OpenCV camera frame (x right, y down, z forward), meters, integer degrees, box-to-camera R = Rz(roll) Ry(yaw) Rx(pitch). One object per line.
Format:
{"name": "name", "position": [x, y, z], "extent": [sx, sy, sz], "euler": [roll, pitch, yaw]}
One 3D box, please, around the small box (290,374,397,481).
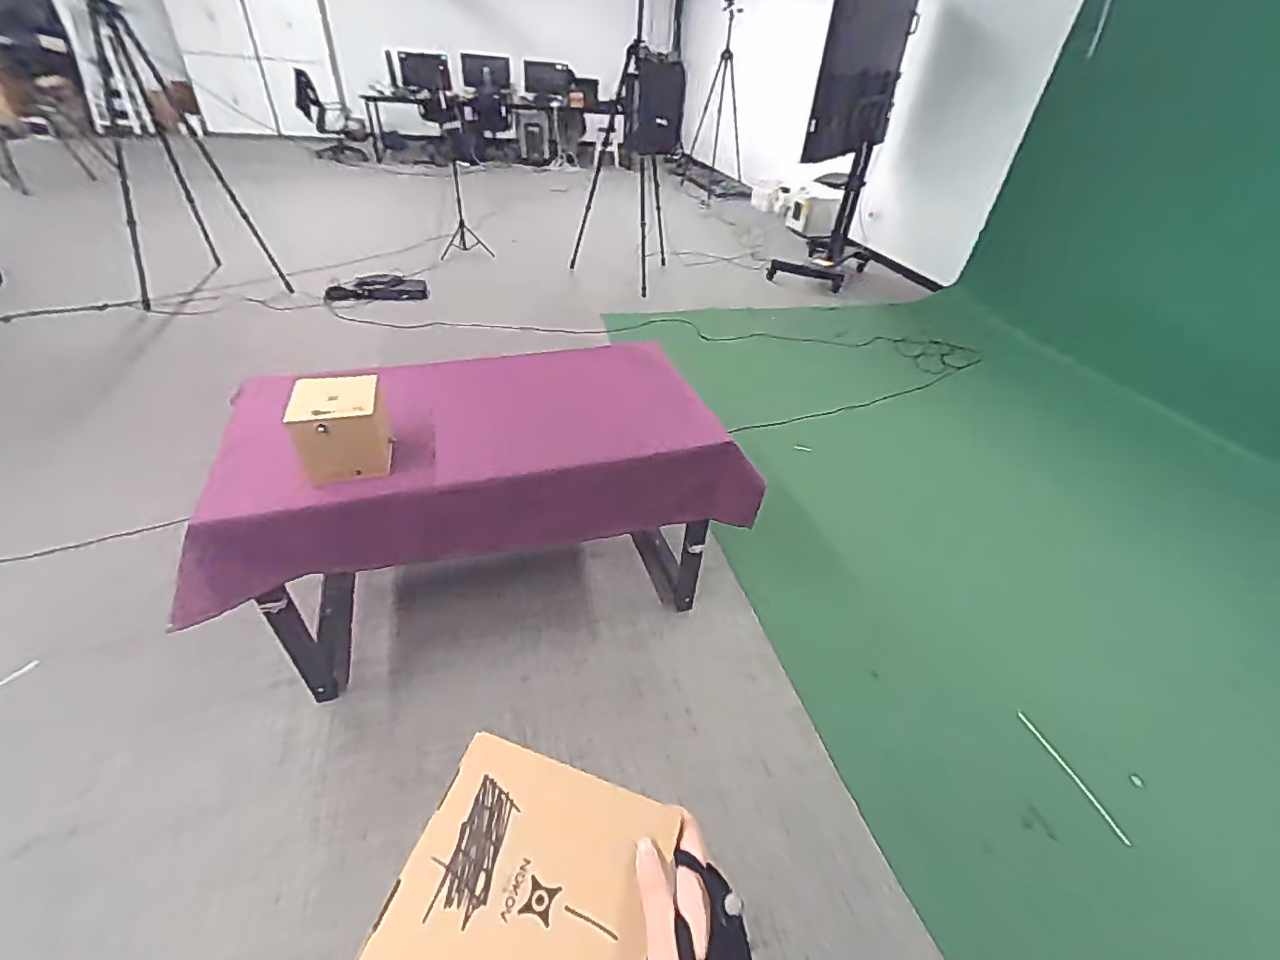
{"name": "small box", "position": [-0.652, -0.120, 1.212], "extent": [0.168, 0.176, 0.179], "euler": [-8, 40, -15]}
